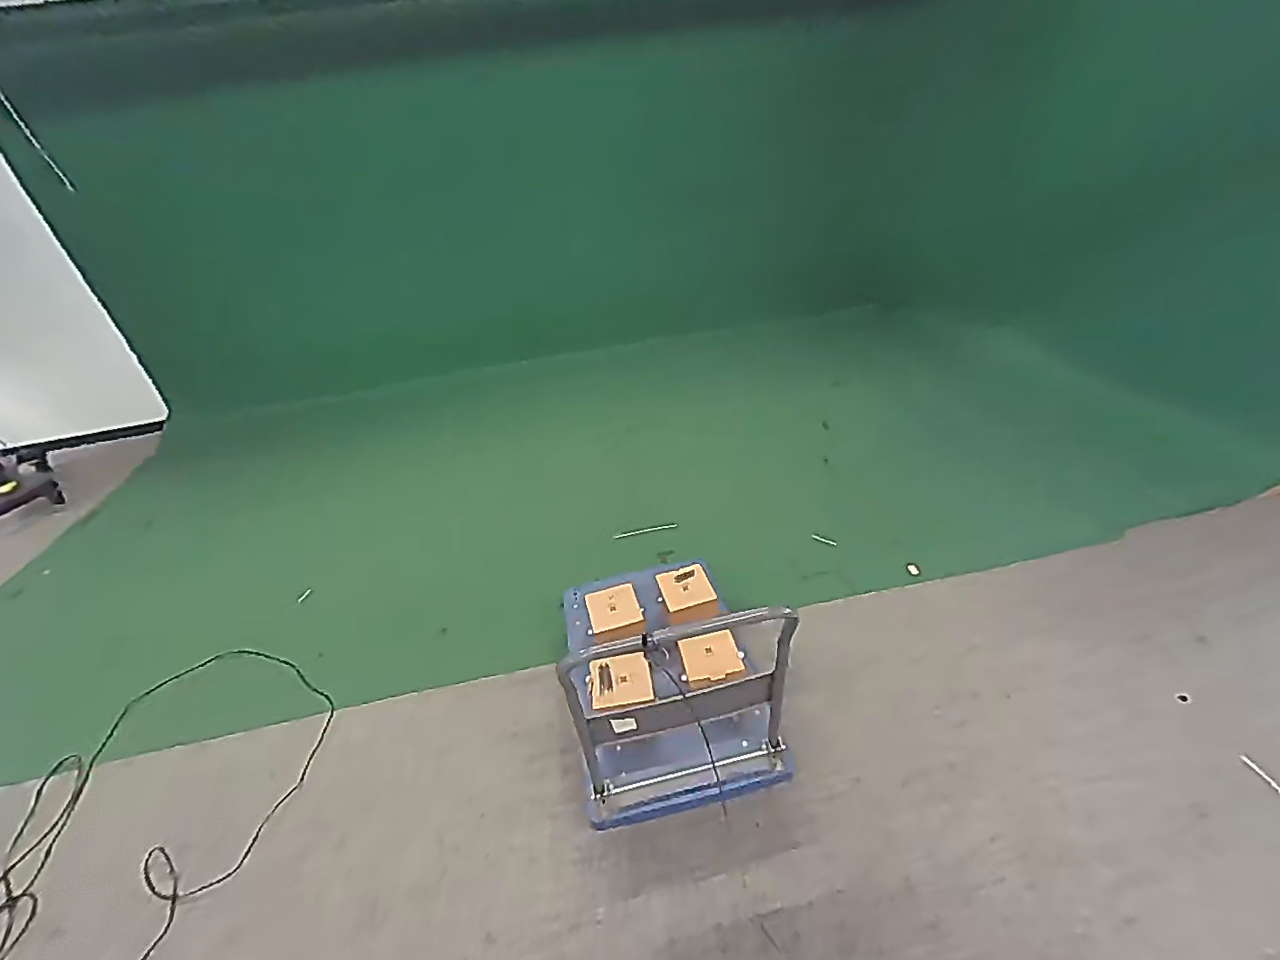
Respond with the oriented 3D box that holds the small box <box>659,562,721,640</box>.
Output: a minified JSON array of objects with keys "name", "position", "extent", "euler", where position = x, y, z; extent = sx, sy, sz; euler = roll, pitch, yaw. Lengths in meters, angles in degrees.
[{"name":"small box","position":[0.171,0.414,1.854],"extent":[0.168,0.176,0.179],"euler":[-14,36,-8]}]

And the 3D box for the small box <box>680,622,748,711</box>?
[{"name":"small box","position":[0.221,0.563,1.634],"extent":[0.168,0.176,0.179],"euler":[-11,36,-4]}]

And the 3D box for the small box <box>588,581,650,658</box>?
[{"name":"small box","position":[-0.071,0.475,1.817],"extent":[0.168,0.176,0.179],"euler":[-13,35,-8]}]
